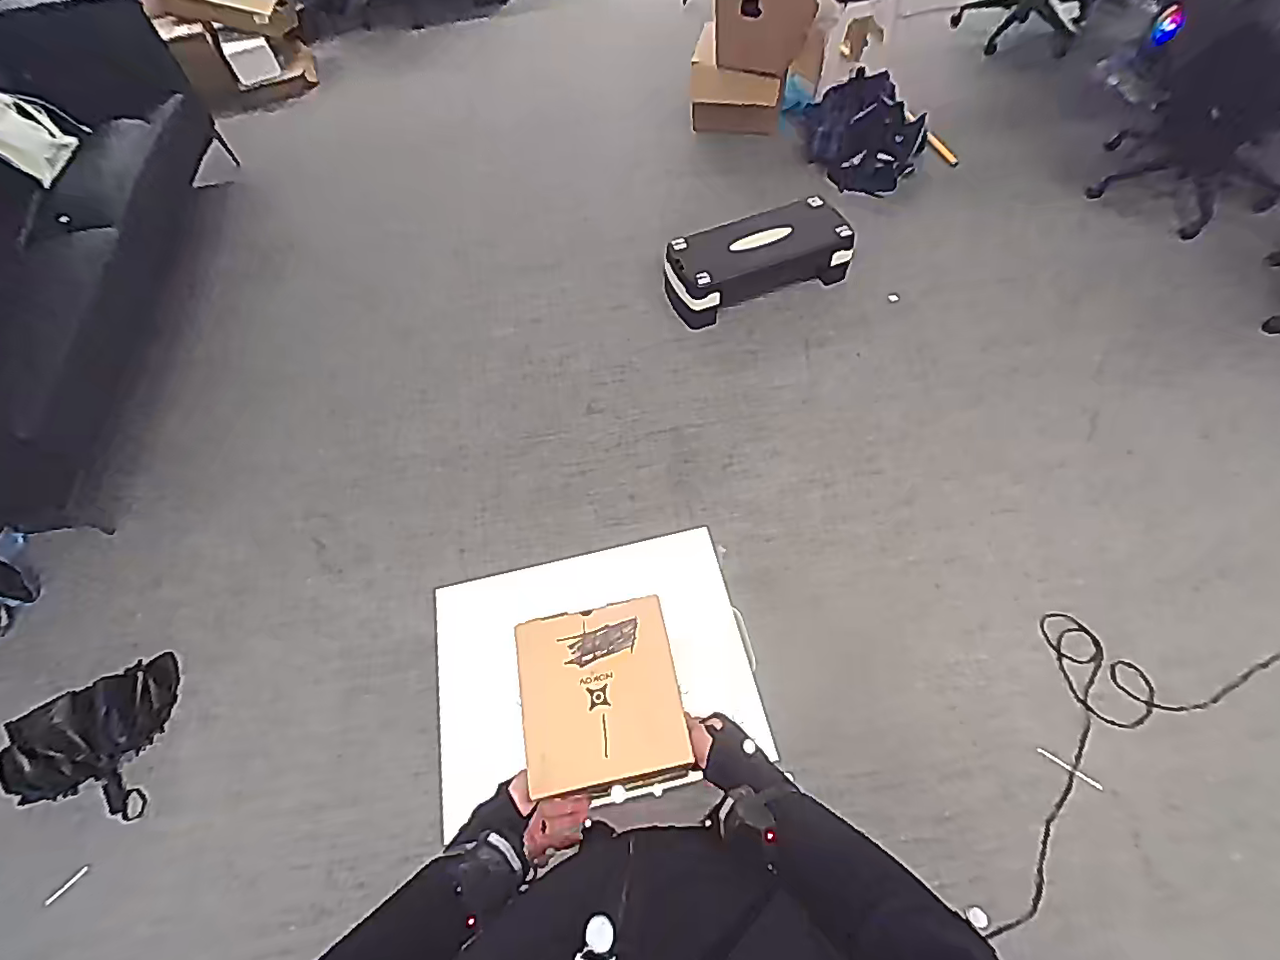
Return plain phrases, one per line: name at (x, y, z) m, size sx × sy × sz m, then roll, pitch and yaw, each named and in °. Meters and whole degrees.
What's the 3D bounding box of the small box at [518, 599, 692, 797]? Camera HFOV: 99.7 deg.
small box at (-0.040, 0.262, 0.638) m, size 0.168 × 0.176 × 0.179 m, roll -11°, pitch 60°, yaw -3°
